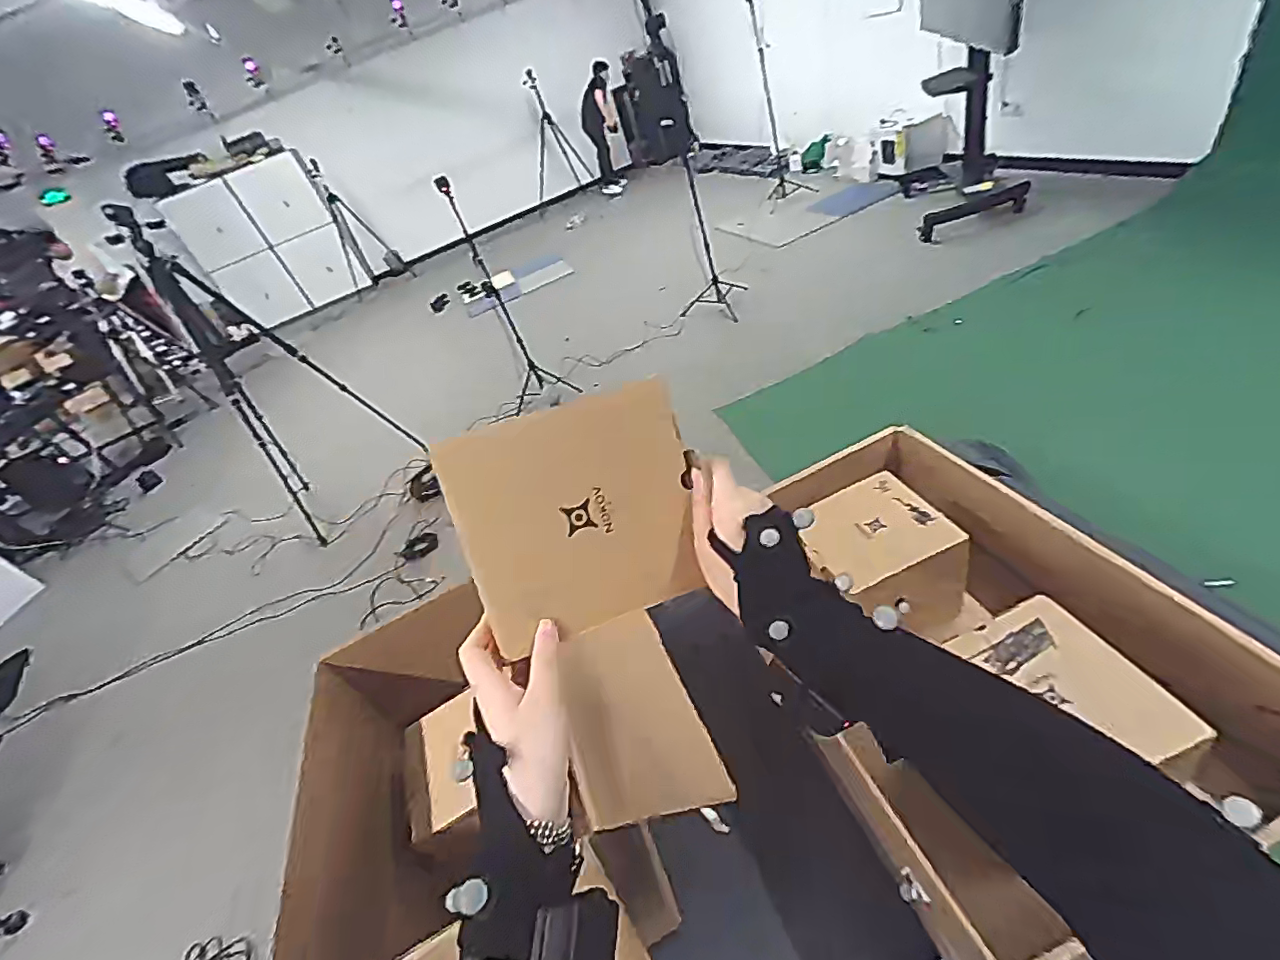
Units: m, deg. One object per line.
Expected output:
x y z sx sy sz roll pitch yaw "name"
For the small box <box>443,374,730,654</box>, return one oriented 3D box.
-0.050 0.018 0.469 0.179 0.168 0.176 -19 10 -13 "small box"
